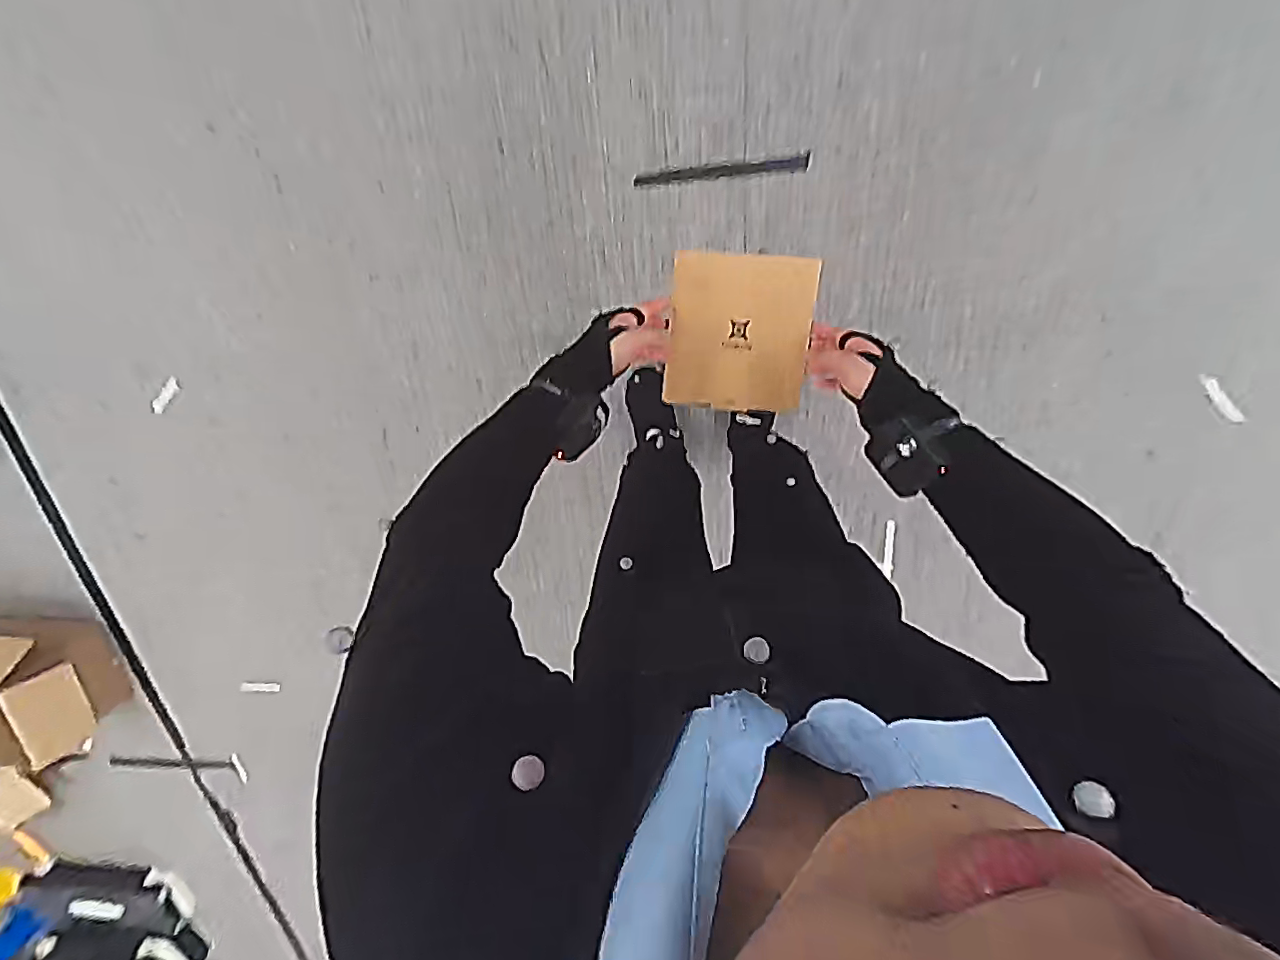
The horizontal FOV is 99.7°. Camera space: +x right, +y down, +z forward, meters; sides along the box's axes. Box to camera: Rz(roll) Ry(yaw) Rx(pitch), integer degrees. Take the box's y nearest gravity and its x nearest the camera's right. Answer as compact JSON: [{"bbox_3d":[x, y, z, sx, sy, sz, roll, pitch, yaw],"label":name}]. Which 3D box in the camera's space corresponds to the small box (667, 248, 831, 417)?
[{"bbox_3d":[0.129,-0.187,0.686,0.168,0.176,0.179,6,108,7],"label":"small box"}]
